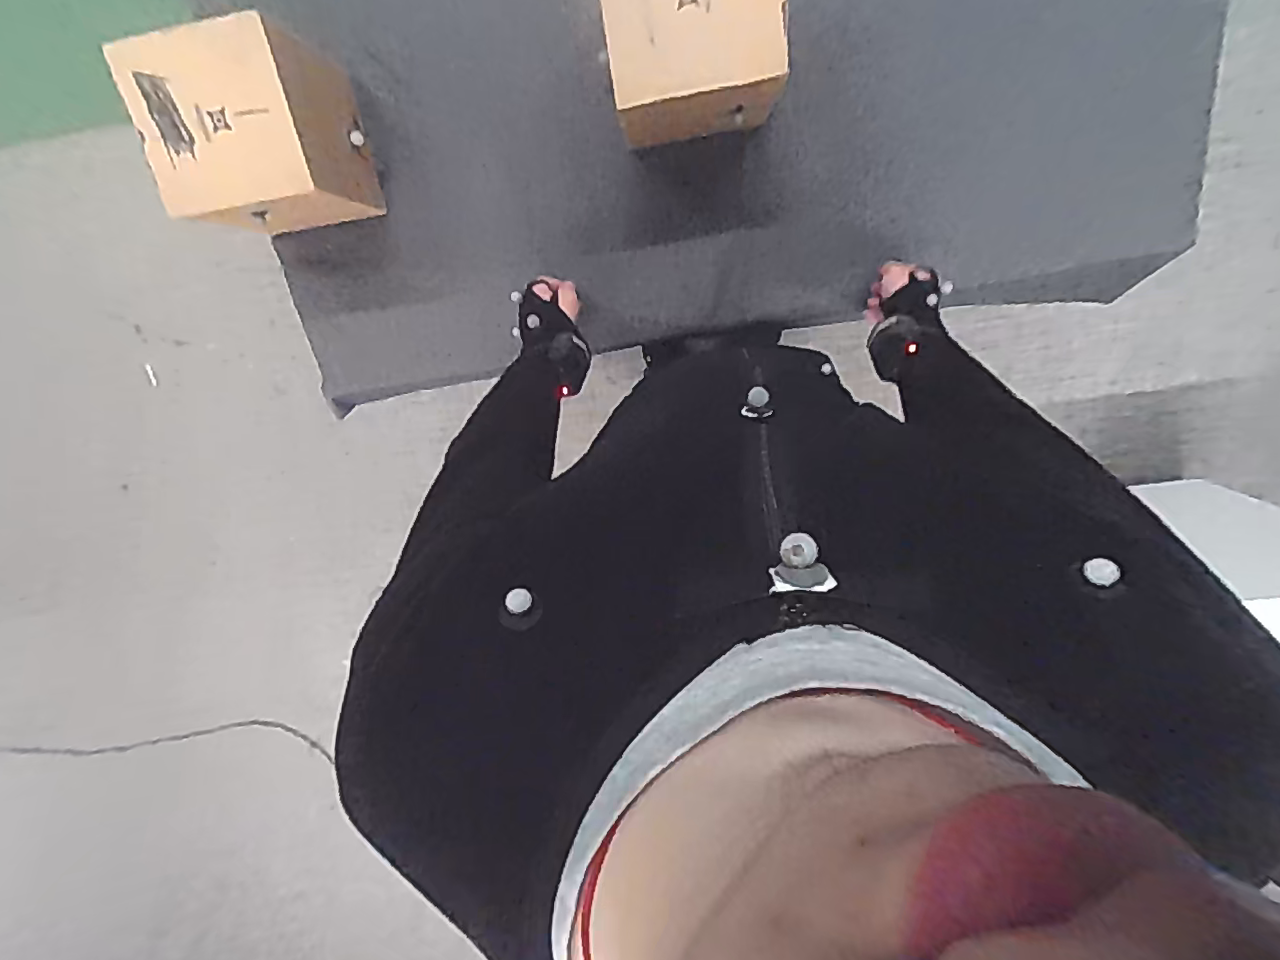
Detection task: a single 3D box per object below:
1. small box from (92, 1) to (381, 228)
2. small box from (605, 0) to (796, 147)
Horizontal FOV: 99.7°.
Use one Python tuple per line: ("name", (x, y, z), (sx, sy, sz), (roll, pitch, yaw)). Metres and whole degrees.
("small box", (-0.439, -0.398, 0.623), (0.179, 0.176, 0.168), (-8, 110, 3))
("small box", (0.057, -0.483, 0.581), (0.179, 0.176, 0.168), (-8, 108, 6))
